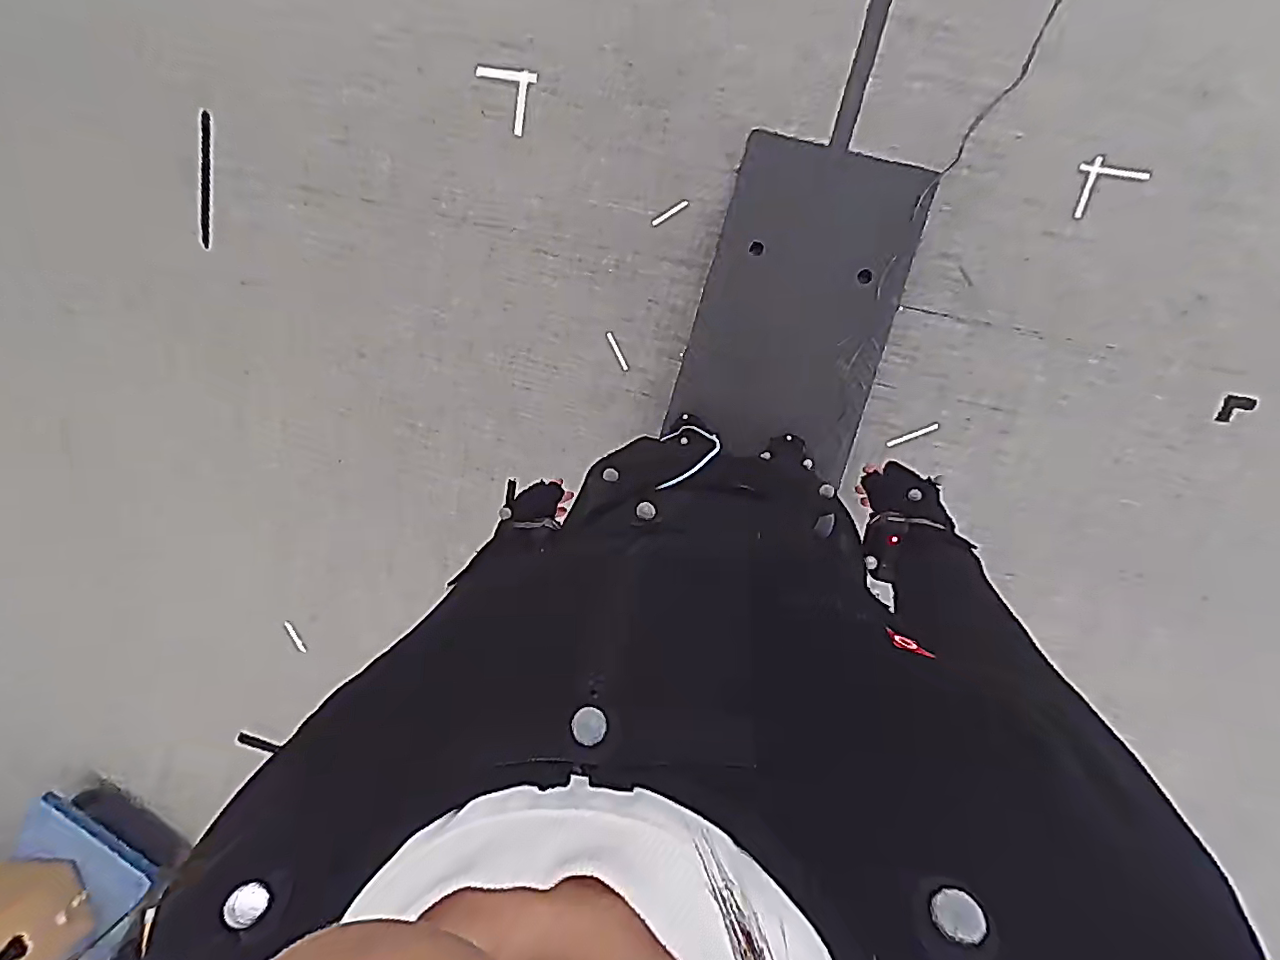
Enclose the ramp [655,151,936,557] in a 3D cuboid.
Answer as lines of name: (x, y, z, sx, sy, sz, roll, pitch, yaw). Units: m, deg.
ramp: (0.396, -0.338, 1.427, 0.509, 0.206, 0.991, 14, 102, 9)
